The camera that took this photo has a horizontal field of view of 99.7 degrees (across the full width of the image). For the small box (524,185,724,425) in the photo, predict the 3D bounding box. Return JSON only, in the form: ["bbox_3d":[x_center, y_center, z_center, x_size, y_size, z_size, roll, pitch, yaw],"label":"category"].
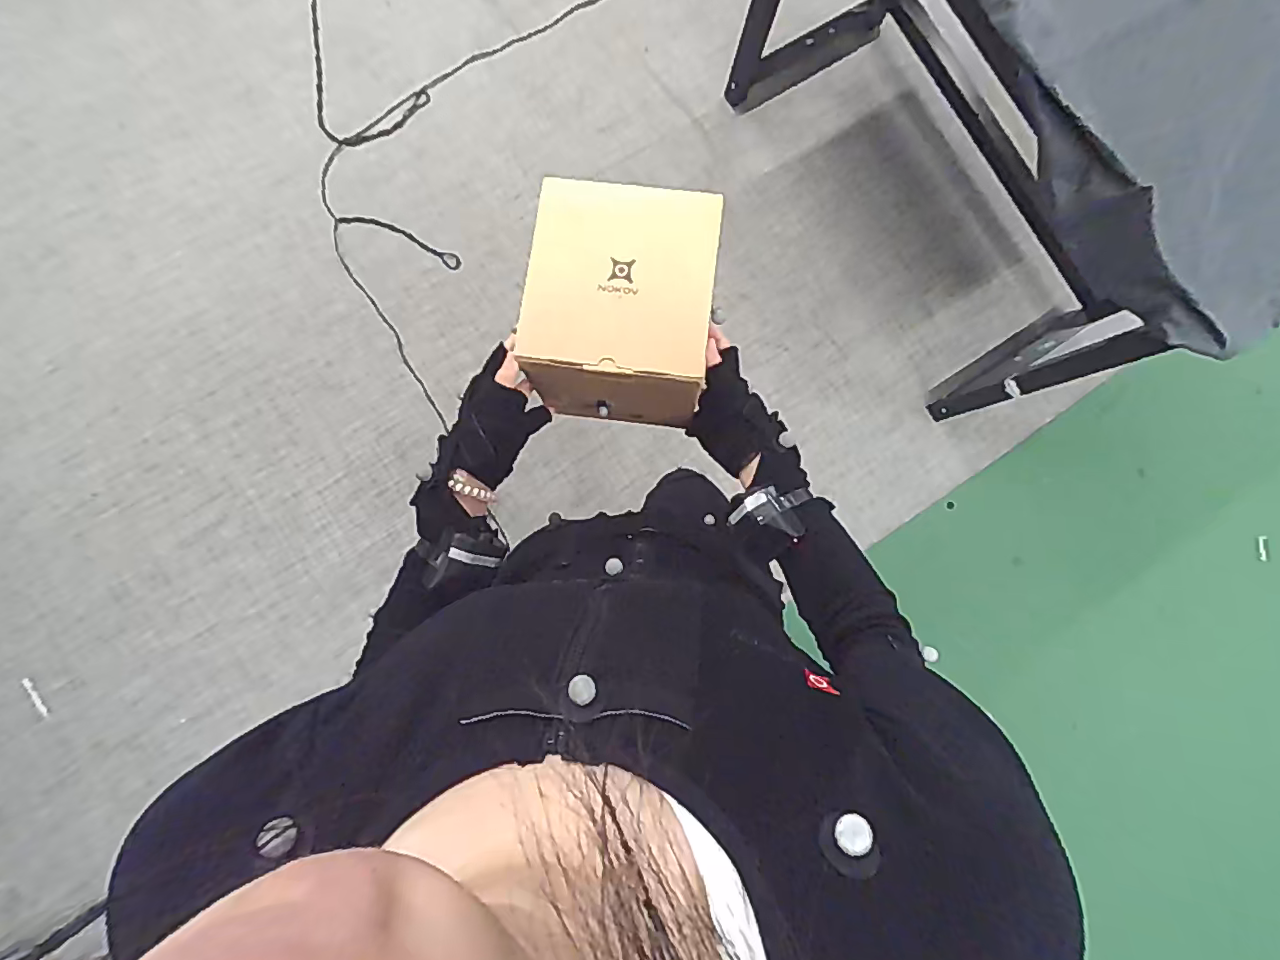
[{"bbox_3d":[-0.012,-0.169,0.568,0.168,0.176,0.179,6,82,2],"label":"small box"}]
